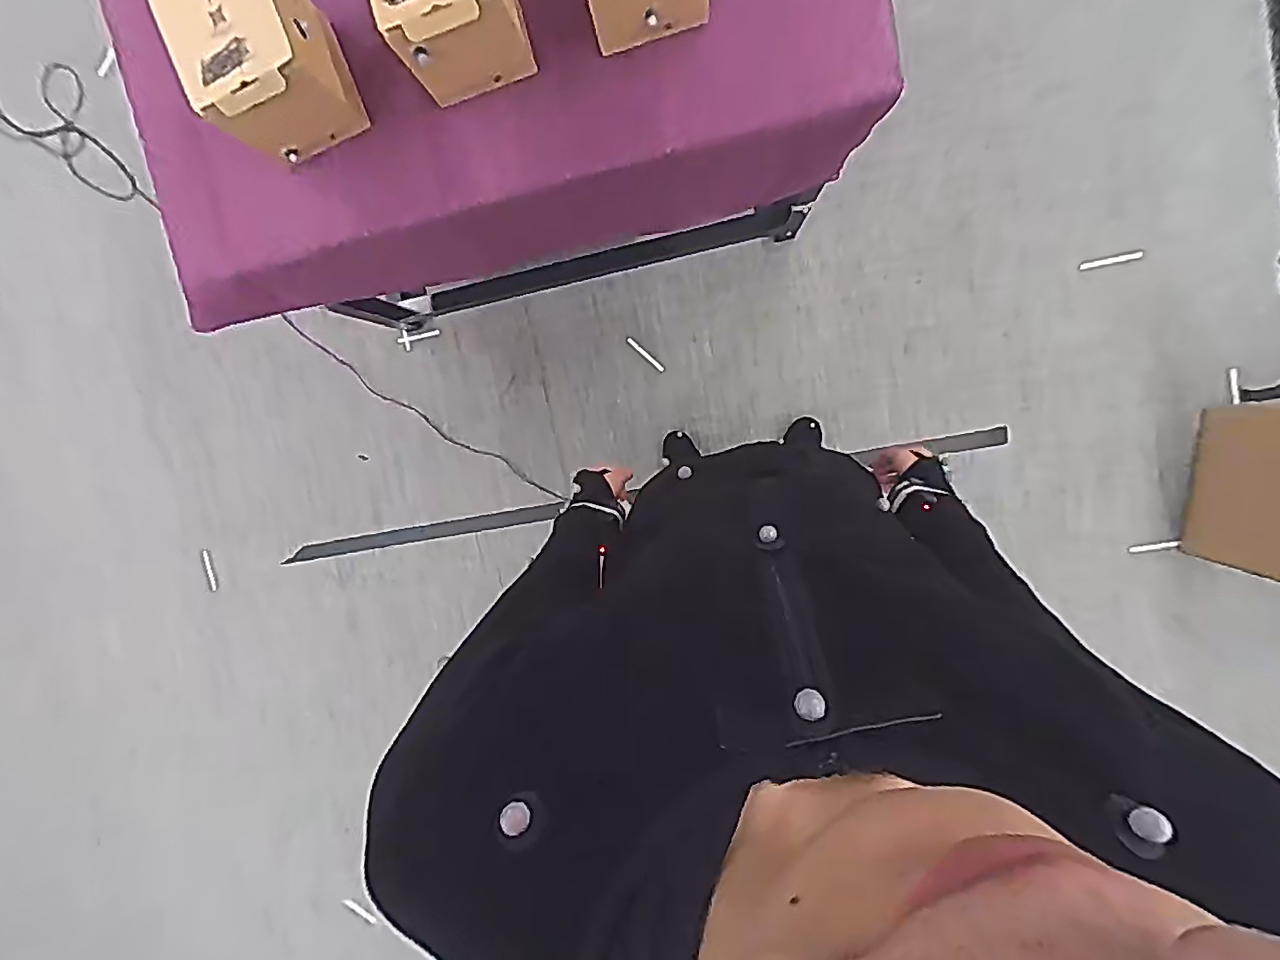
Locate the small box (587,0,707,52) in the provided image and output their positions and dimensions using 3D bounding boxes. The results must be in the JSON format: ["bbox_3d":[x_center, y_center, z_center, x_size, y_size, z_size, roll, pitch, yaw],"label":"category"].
[{"bbox_3d":[-0.007,-0.733,0.720,0.168,0.176,0.179,-12,96,8],"label":"small box"}]

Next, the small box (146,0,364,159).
[{"bbox_3d":[-0.545,-0.606,0.790,0.168,0.176,0.179,-21,94,7],"label":"small box"}]
